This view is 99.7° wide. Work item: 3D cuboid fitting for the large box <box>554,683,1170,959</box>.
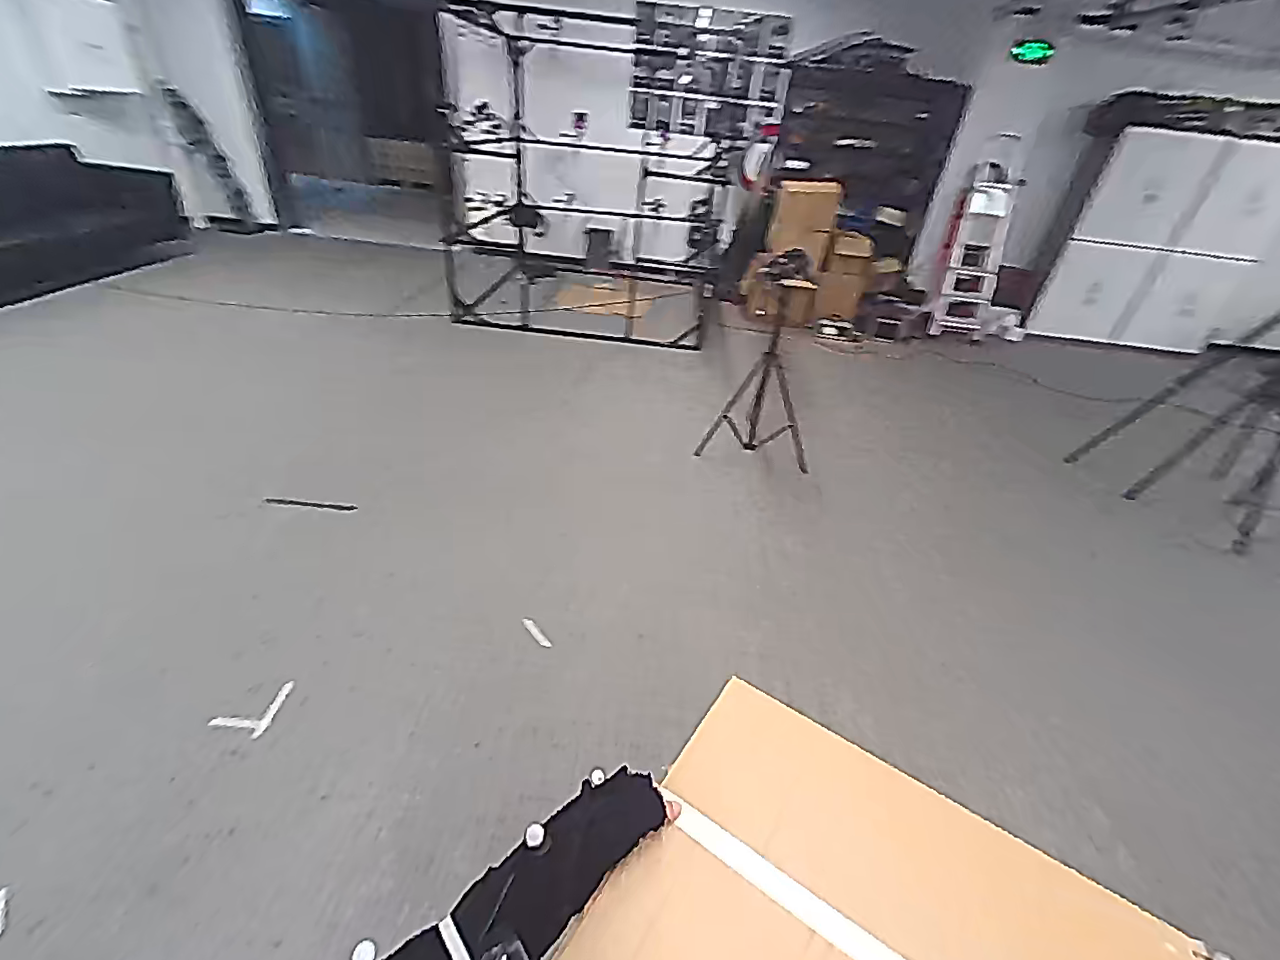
[{"bbox_3d":[0.169,0.482,0.502,0.408,0.320,0.320,23,40,26],"label":"large box"}]
